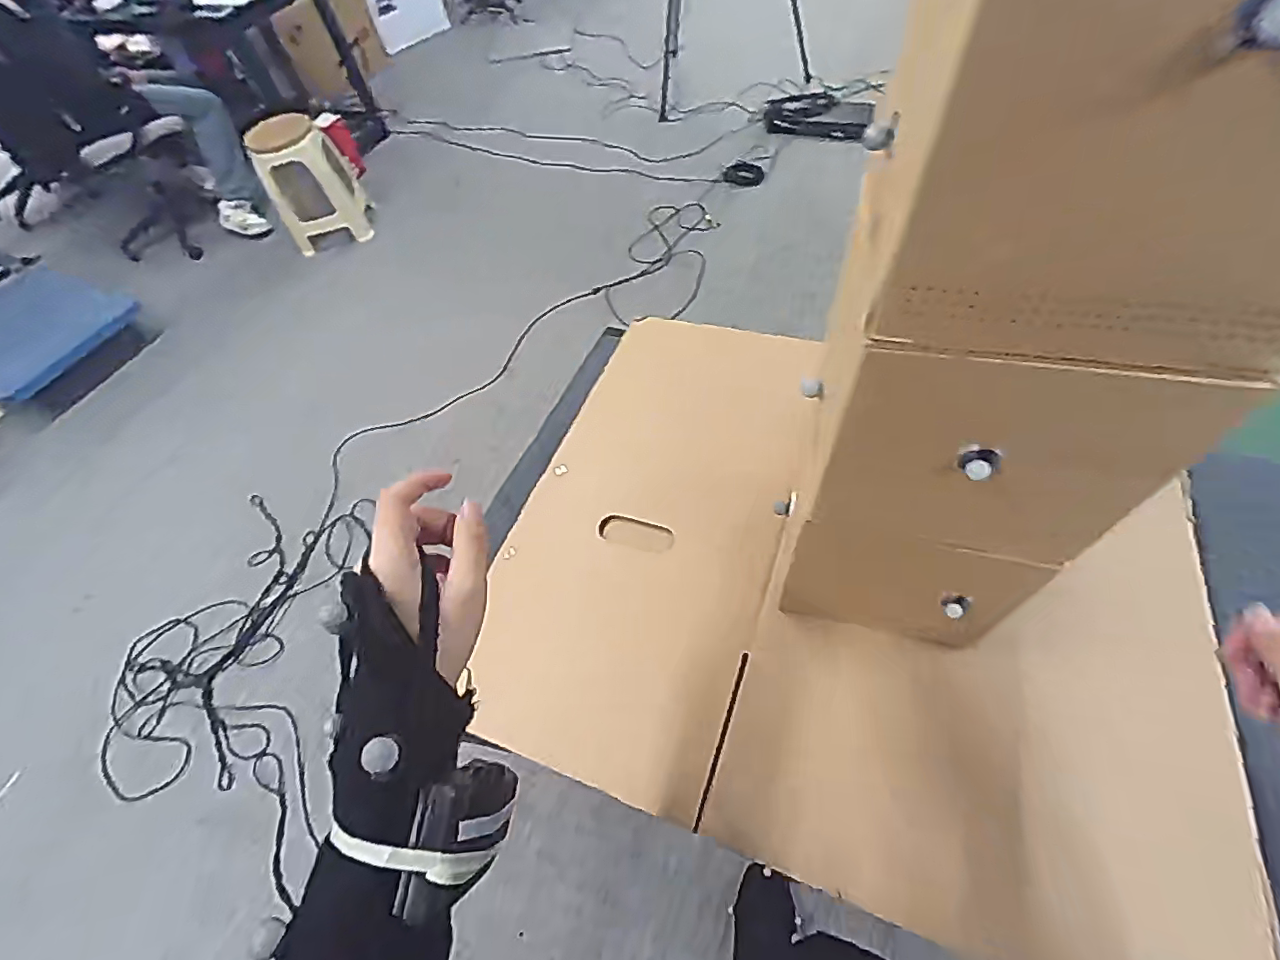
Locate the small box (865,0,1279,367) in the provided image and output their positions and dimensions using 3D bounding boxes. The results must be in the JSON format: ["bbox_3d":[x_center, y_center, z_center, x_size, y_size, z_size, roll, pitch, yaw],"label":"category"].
[{"bbox_3d":[0.209,-0.167,0.231,0.179,0.176,0.168,8,55,12],"label":"small box"}]

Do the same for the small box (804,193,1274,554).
[{"bbox_3d":[0.218,-0.068,0.359,0.179,0.176,0.168,8,55,12],"label":"small box"}]

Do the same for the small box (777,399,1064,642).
[{"bbox_3d":[0.230,0.031,0.490,0.179,0.176,0.168,9,54,13],"label":"small box"}]
